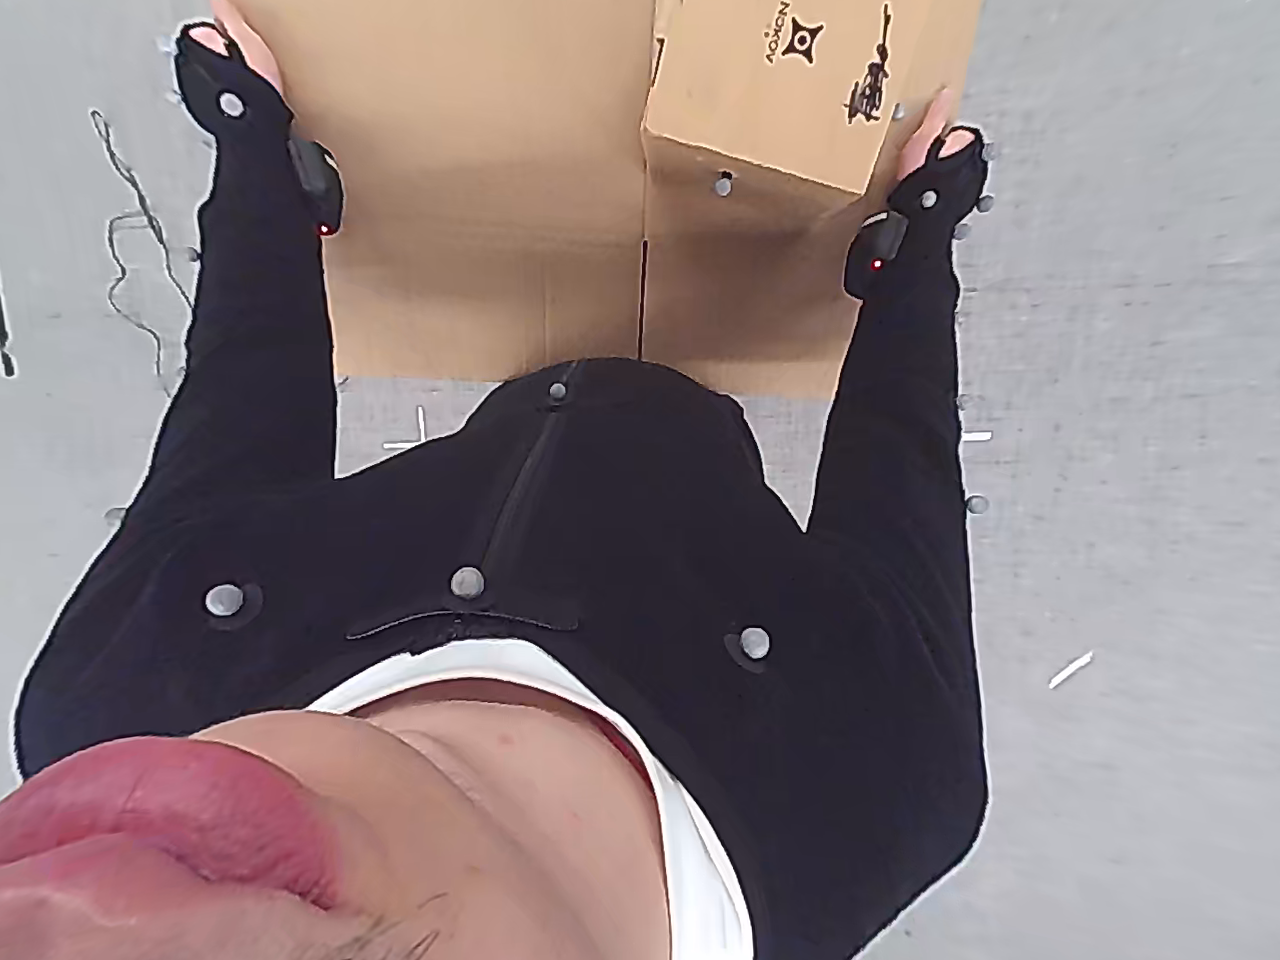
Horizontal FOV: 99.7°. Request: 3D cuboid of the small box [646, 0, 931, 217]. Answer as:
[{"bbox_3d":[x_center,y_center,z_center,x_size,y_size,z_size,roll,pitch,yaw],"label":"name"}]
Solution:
[{"bbox_3d":[0.115,-0.342,0.463,0.179,0.176,0.168,16,108,-1],"label":"small box"}]
